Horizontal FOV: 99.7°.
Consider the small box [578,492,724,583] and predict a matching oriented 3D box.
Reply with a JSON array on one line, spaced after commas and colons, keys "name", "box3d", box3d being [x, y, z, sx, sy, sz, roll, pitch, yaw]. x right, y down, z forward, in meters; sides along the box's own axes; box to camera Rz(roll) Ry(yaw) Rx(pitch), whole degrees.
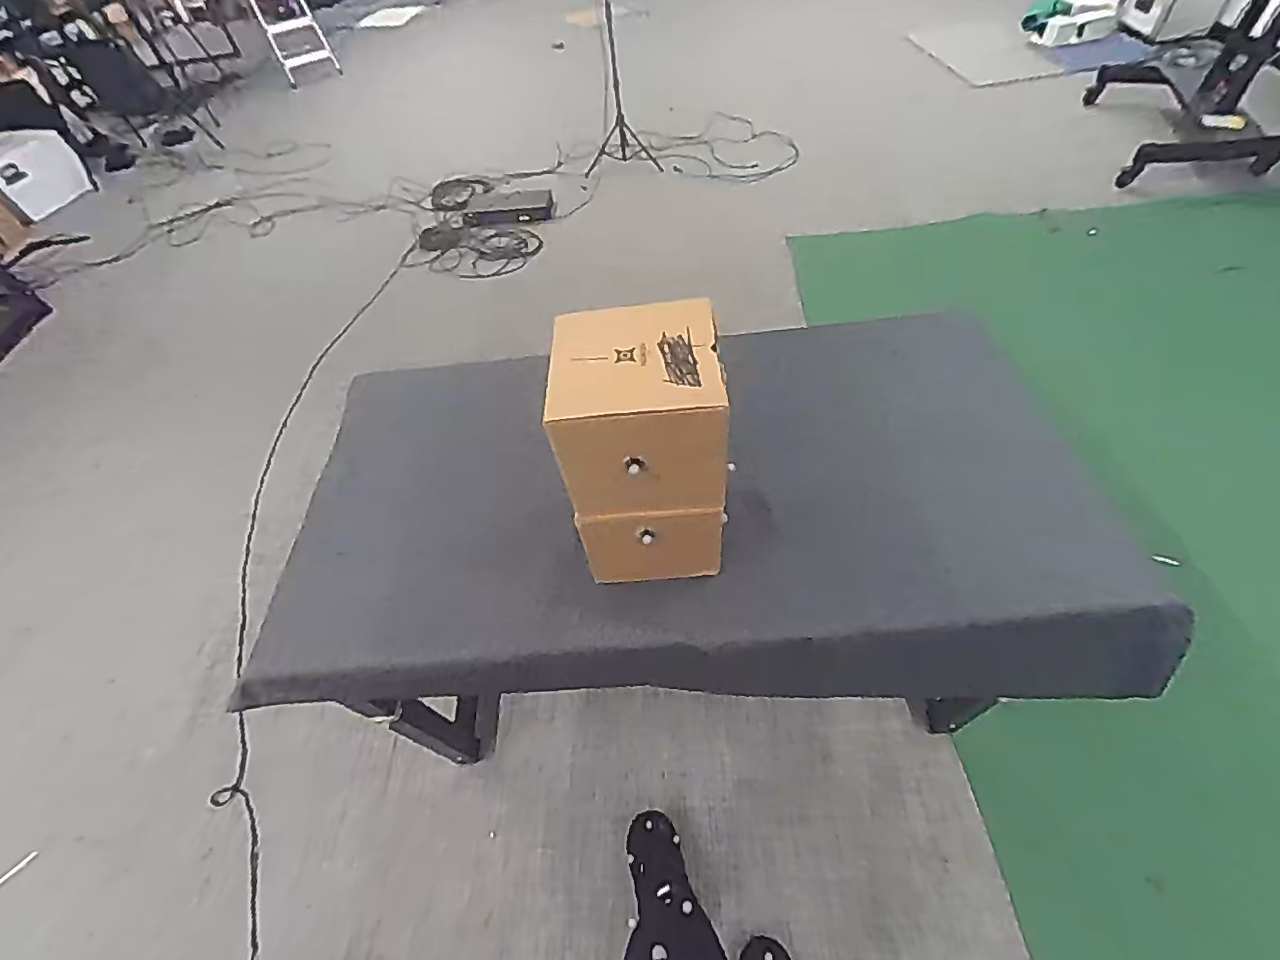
[{"name": "small box", "box3d": [0.018, 0.032, 0.744, 0.179, 0.176, 0.168, -4, 53, 2]}]

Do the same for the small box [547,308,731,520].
[{"name": "small box", "box3d": [0.006, -0.069, 0.614, 0.179, 0.176, 0.168, -4, 53, 5]}]
